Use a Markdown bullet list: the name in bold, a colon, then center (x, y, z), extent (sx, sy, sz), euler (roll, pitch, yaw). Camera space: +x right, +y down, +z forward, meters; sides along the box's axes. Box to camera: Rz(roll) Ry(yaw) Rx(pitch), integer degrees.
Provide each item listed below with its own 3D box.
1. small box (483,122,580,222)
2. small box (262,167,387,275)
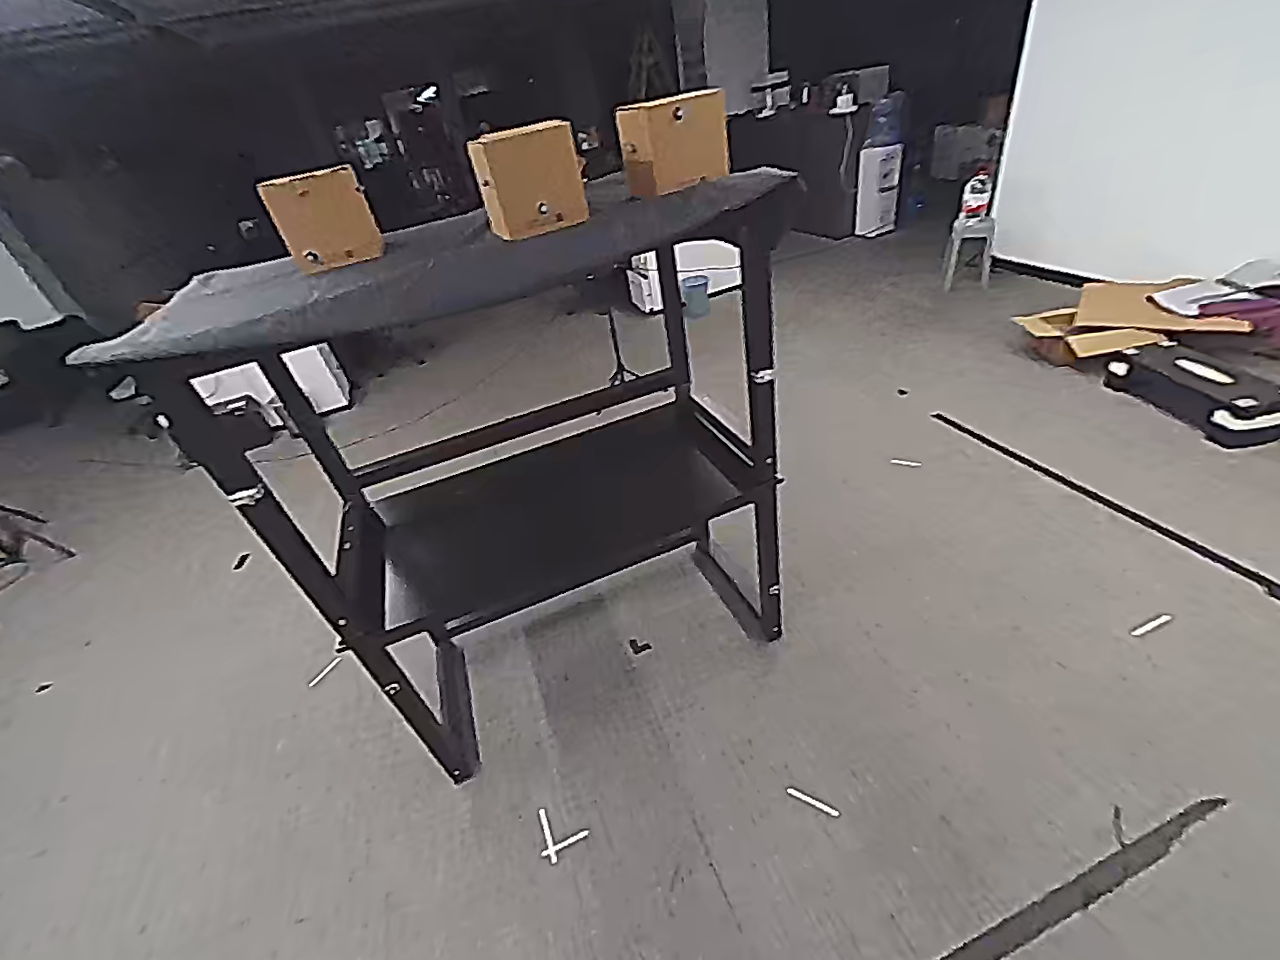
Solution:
- **small box**: center (-0.249, -0.706, 1.245), extent (0.168, 0.176, 0.179), euler (-20, 36, -10)
- **small box**: center (-0.659, -0.552, 1.154), extent (0.168, 0.176, 0.179), euler (-20, 36, -11)
